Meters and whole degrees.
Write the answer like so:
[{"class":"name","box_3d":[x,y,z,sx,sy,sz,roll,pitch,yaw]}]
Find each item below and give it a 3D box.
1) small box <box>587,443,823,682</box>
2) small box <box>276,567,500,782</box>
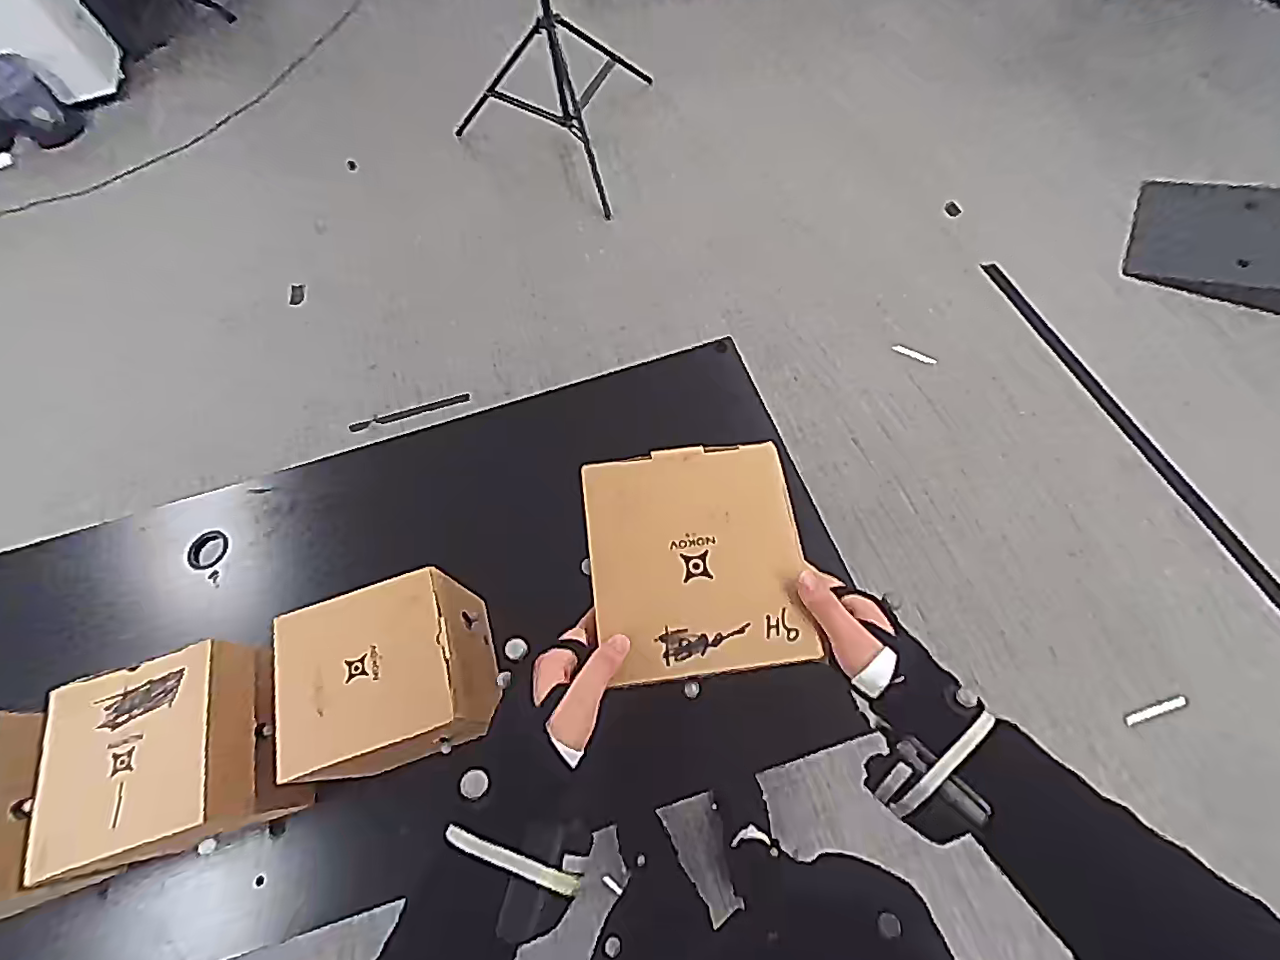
[{"class":"small box","box_3d":[0.045,0.085,0.497,0.168,0.176,0.179,-7,70,-2]},{"class":"small box","box_3d":[-0.274,0.223,0.619,0.179,0.176,0.168,-20,63,-4]}]
